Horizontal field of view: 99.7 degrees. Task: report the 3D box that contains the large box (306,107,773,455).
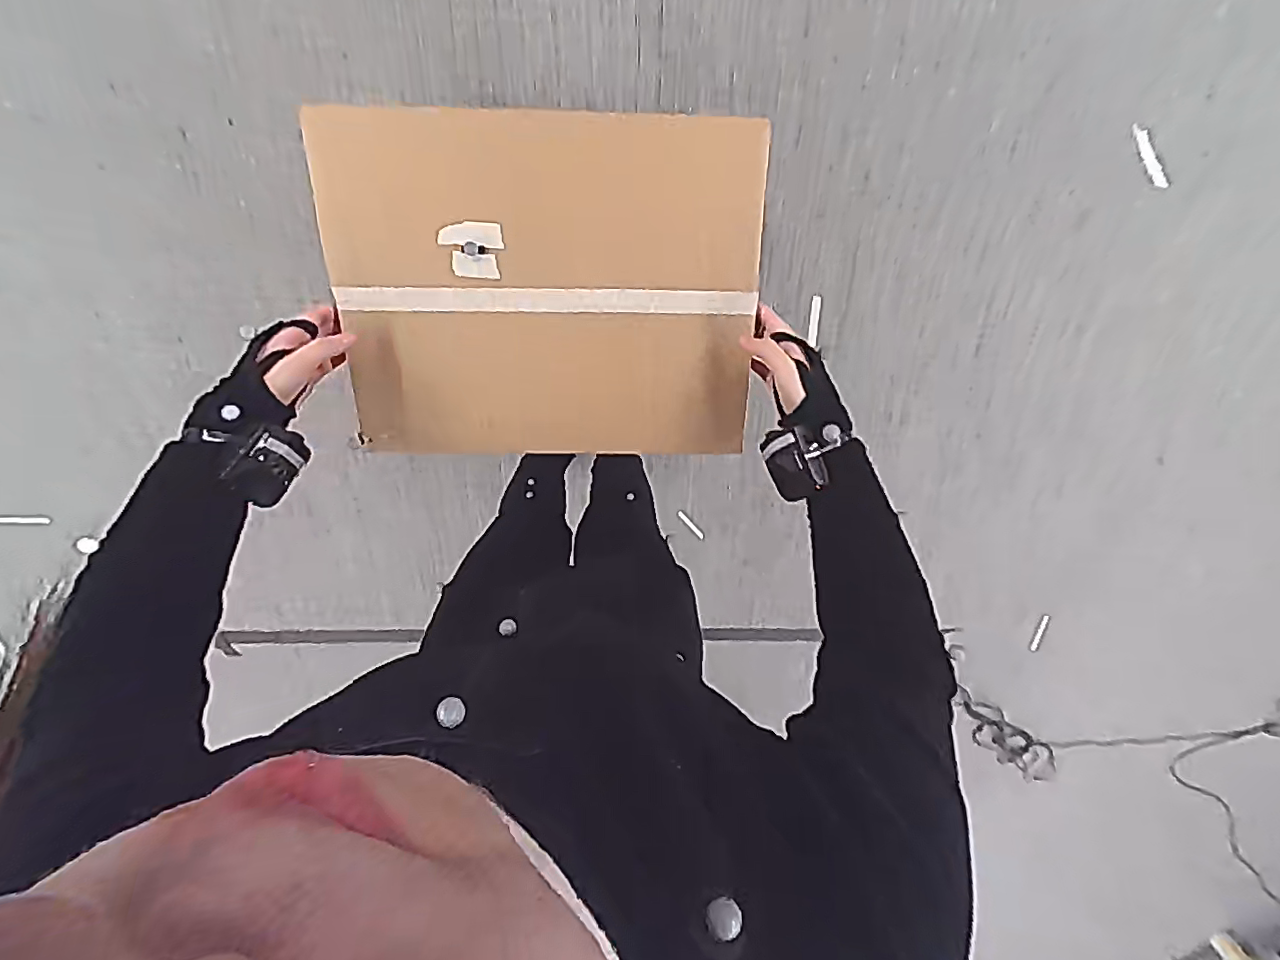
[{"bbox_3d":[-0.084,-0.226,0.647,0.408,0.320,0.320,0,112,-1],"label":"large box"}]
